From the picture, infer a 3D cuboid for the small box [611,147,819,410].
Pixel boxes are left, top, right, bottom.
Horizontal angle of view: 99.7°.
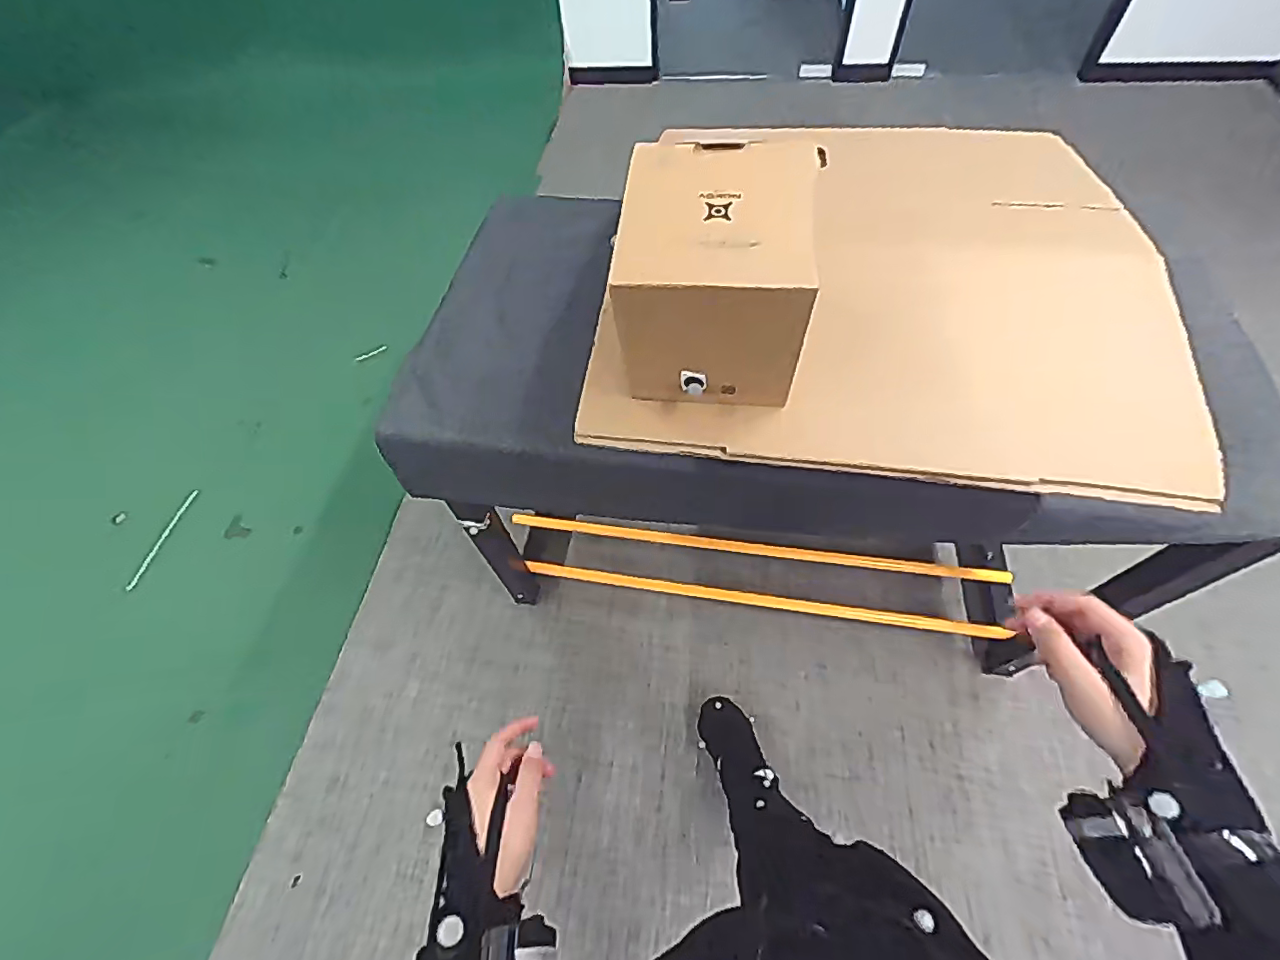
[{"bbox_3d":[0.073,-0.190,0.529,0.168,0.176,0.179,3,66,8],"label":"small box"}]
